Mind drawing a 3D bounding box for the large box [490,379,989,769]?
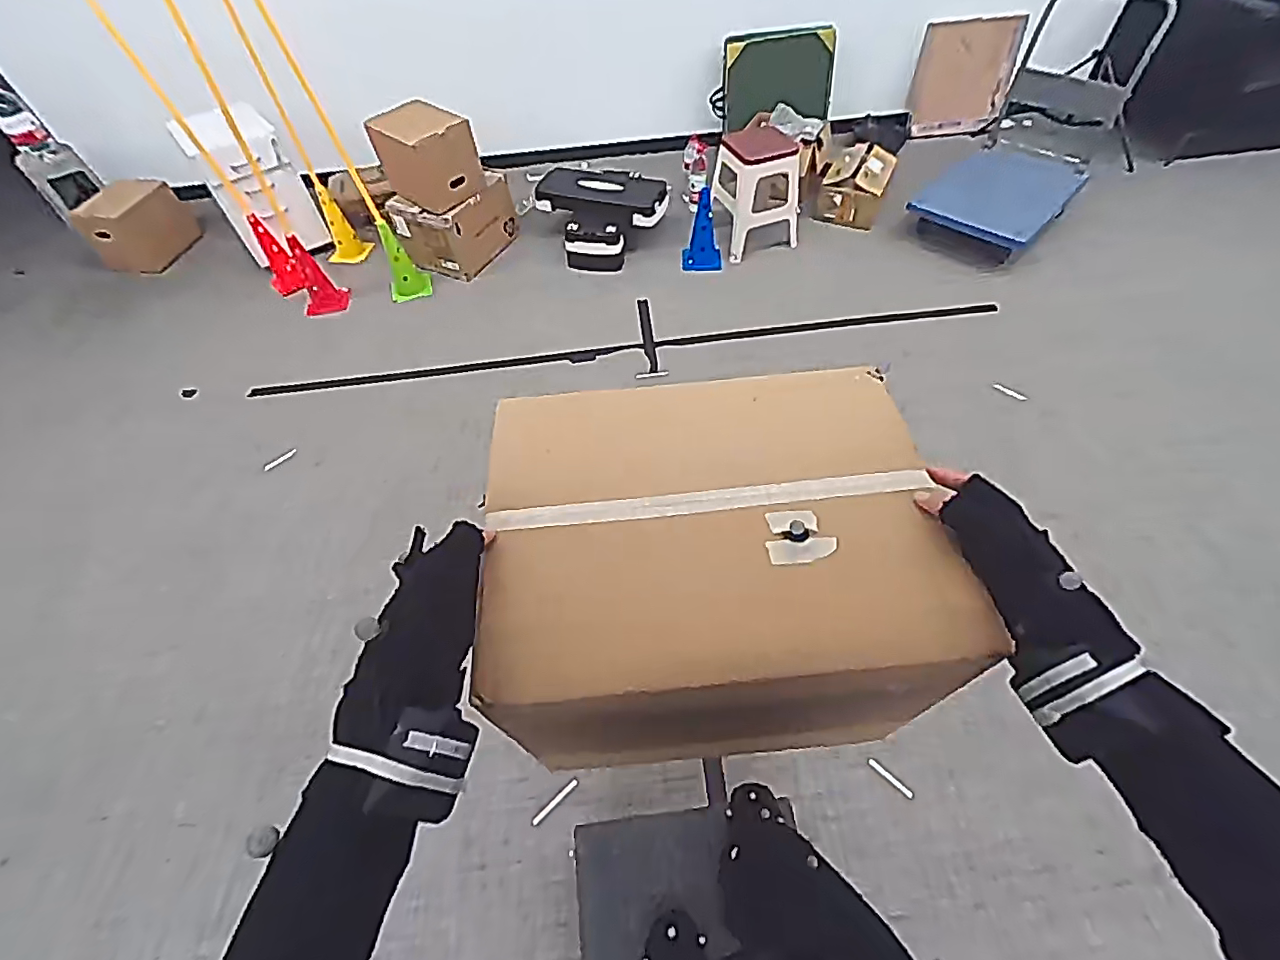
[{"bbox_3d":[0.070,0.117,0.624,0.408,0.320,0.320,-5,54,-1],"label":"large box"}]
